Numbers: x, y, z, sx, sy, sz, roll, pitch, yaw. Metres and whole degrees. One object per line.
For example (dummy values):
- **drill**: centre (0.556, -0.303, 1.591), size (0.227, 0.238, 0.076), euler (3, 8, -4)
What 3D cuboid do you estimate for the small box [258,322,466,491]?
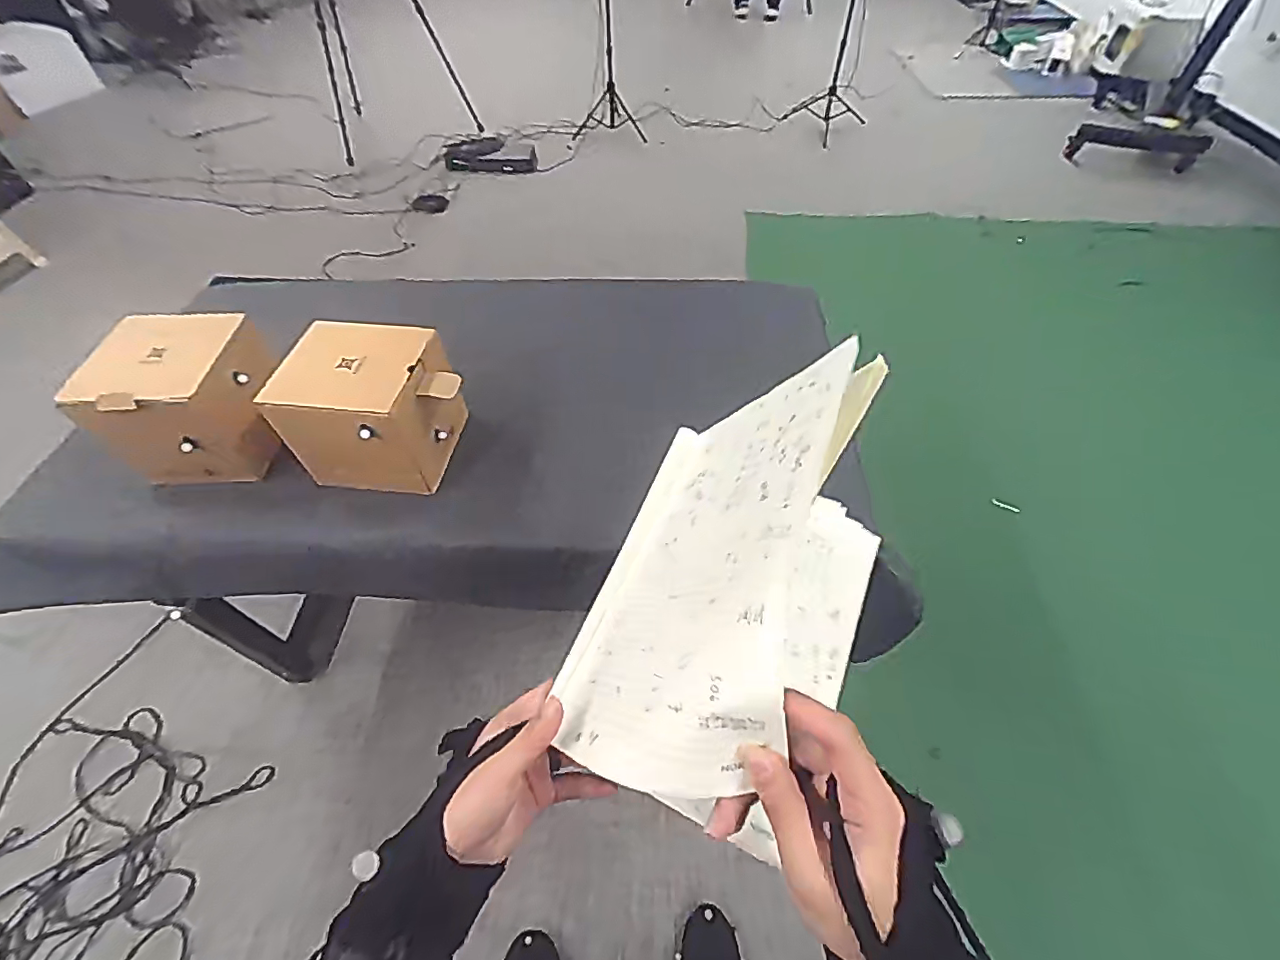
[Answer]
- **small box**: centre (-0.369, -0.099, 0.758), size (0.179, 0.176, 0.168), euler (5, 52, 4)

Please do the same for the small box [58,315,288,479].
- **small box**: centre (-0.628, -0.113, 0.770), size (0.168, 0.176, 0.179), euler (-1, 51, -2)
